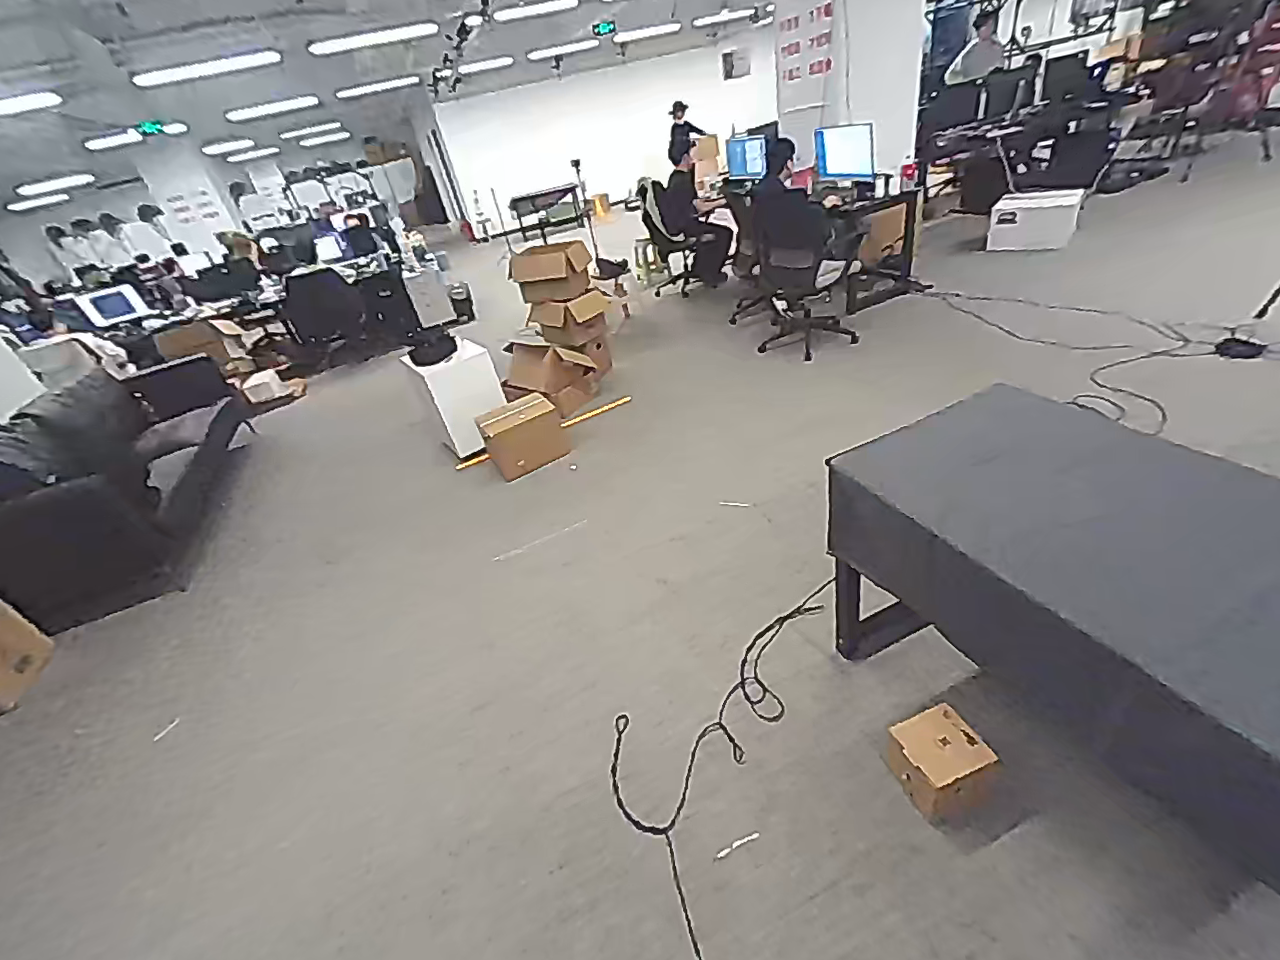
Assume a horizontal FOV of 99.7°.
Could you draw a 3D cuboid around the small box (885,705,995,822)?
[{"bbox_3d":[0.736,0.704,1.340,0.179,0.176,0.168,-19,32,-9],"label":"small box"}]
